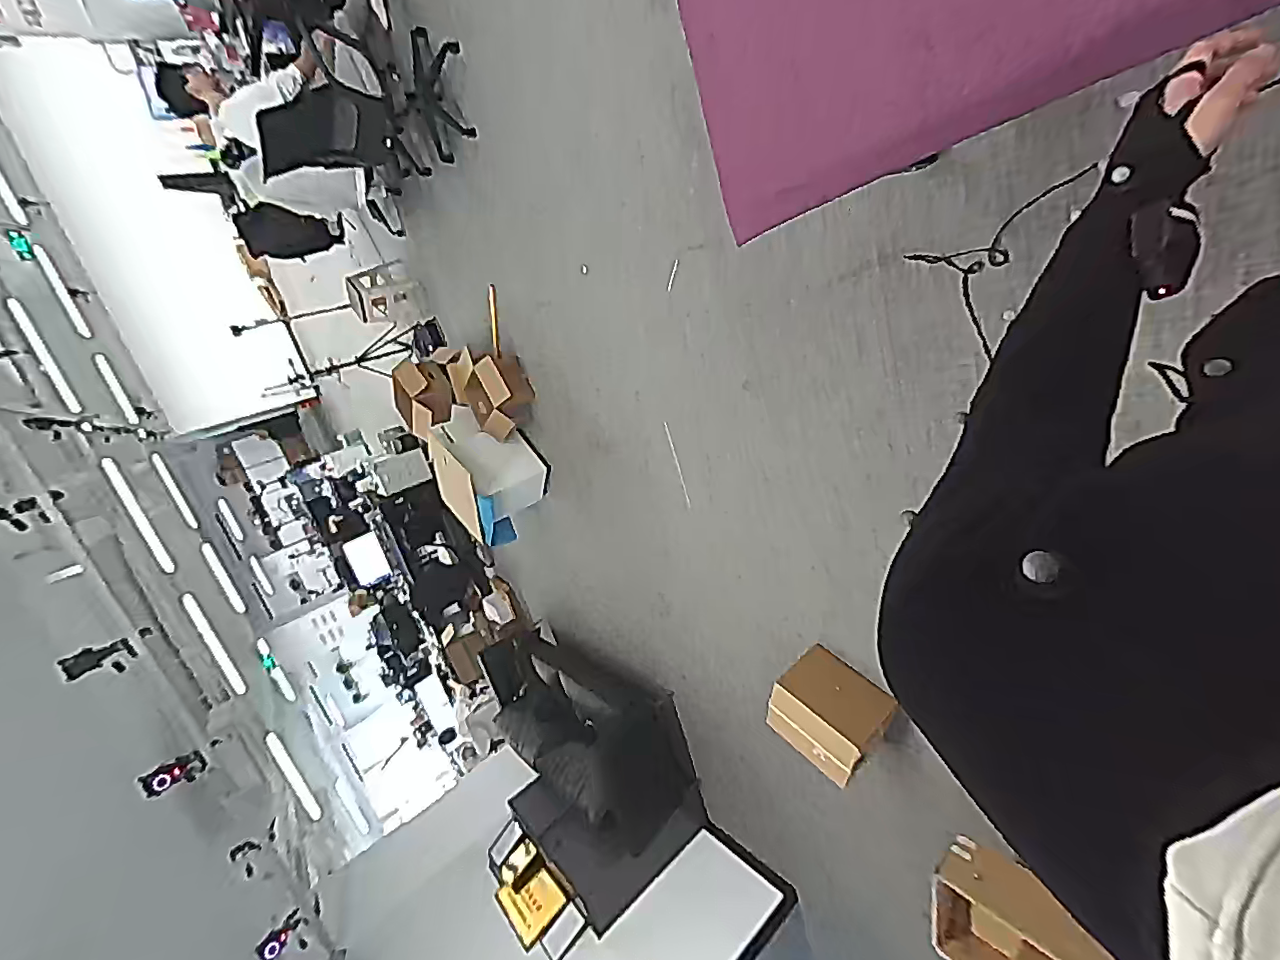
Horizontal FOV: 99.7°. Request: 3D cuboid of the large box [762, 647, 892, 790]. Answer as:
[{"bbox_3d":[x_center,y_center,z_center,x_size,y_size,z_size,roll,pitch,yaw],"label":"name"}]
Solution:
[{"bbox_3d":[0.796,1.013,2.337,0.408,0.320,0.320,32,137,38],"label":"large box"}]
